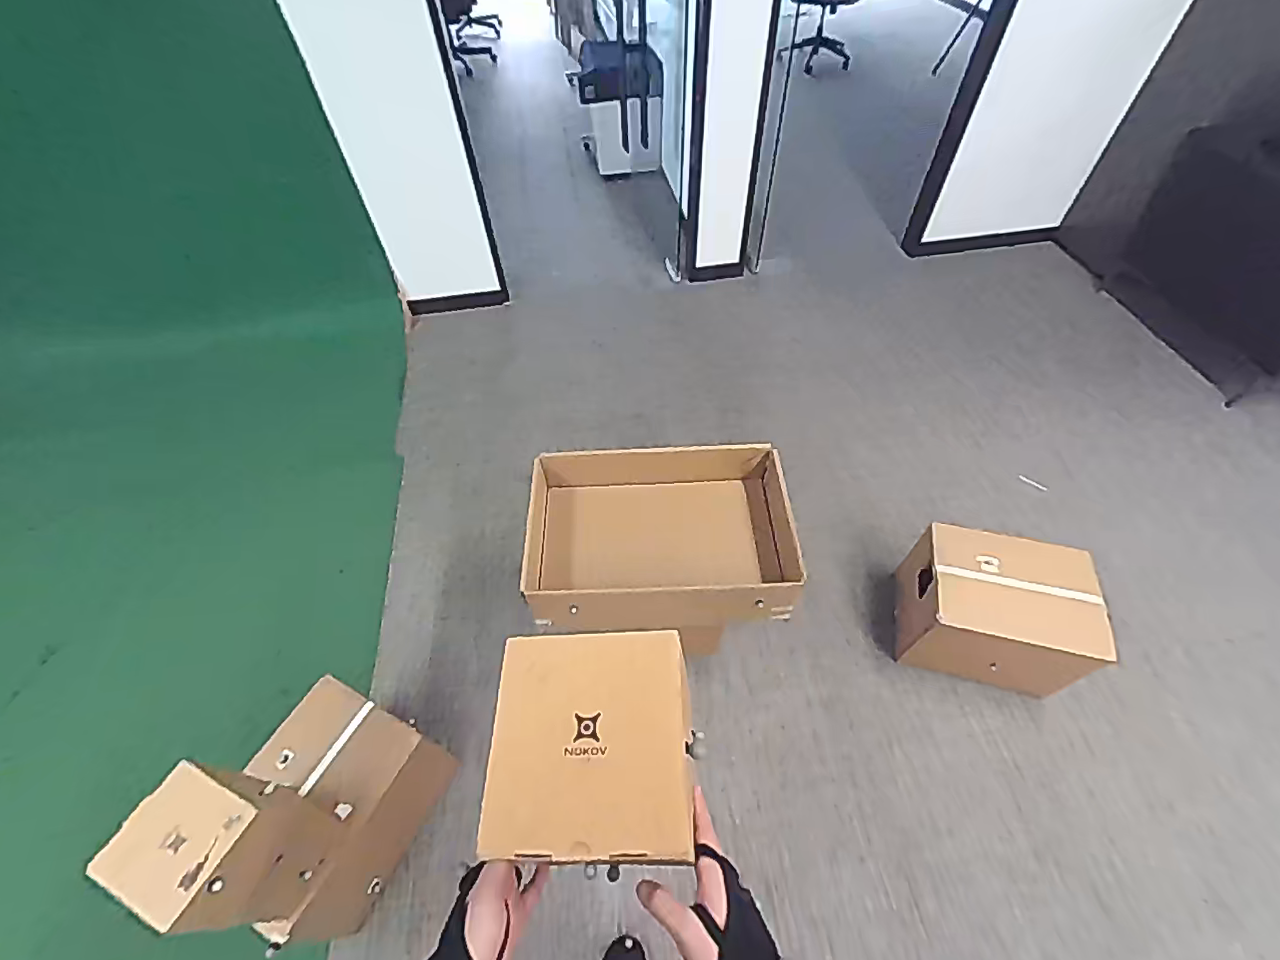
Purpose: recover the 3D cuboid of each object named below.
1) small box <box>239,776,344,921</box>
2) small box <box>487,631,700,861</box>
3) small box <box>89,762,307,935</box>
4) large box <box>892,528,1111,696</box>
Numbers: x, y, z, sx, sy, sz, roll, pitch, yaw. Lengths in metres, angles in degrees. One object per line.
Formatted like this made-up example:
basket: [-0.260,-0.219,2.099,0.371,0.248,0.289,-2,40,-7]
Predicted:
small box: [-0.703,0.688,1.006,0.179,0.176,0.168,21,56,15]
small box: [-0.030,0.261,0.523,0.168,0.176,0.179,-4,55,5]
small box: [-0.695,0.592,0.873,0.179,0.176,0.168,20,55,16]
large box: [0.969,0.374,1.518,0.408,0.320,0.320,10,53,10]
